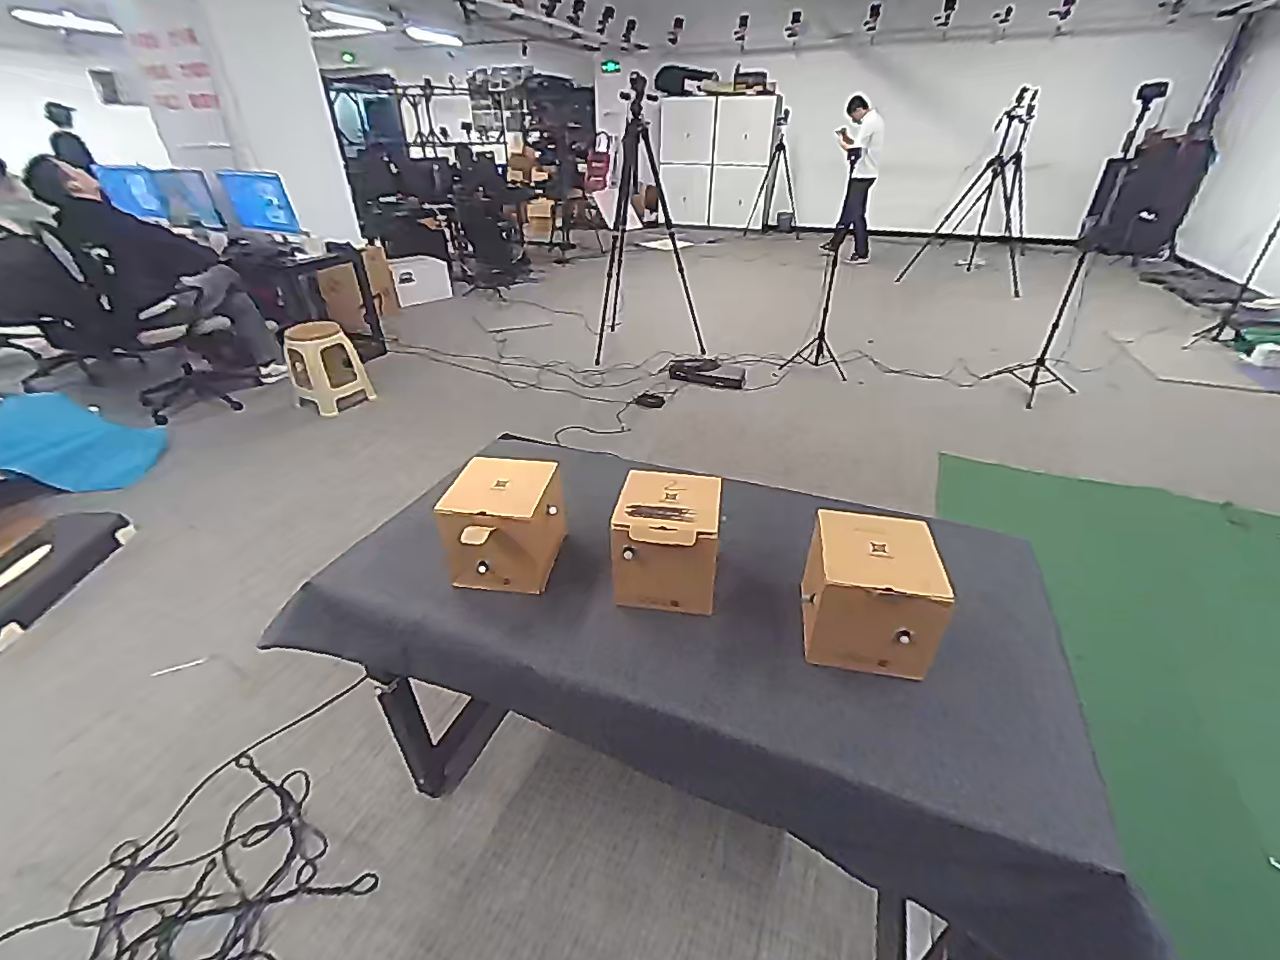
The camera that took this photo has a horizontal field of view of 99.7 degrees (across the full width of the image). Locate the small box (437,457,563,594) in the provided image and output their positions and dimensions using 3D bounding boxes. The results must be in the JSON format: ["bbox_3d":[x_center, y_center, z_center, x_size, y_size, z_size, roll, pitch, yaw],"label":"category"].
[{"bbox_3d":[-0.238,0.078,0.973,0.168,0.176,0.179,4,33,6],"label":"small box"}]

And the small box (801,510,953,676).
[{"bbox_3d":[0.346,0.170,0.825,0.168,0.176,0.179,7,32,9],"label":"small box"}]
